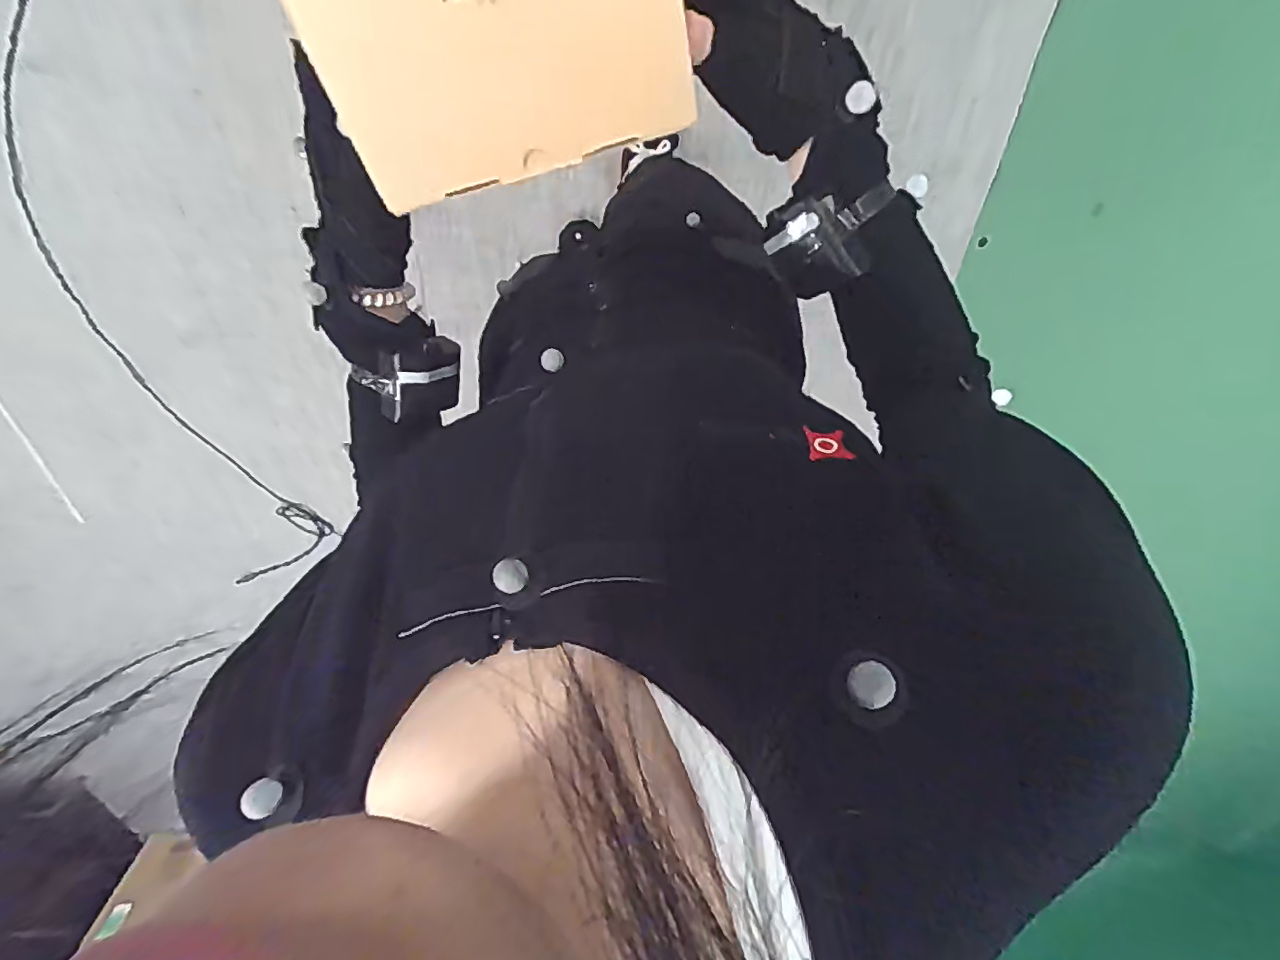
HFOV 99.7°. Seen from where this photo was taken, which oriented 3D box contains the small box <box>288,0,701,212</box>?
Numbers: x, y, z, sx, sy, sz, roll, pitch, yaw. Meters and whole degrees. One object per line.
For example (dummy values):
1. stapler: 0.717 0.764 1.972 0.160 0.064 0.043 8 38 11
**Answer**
1. small box: -0.076 -0.272 0.278 0.168 0.176 0.179 -14 132 6
